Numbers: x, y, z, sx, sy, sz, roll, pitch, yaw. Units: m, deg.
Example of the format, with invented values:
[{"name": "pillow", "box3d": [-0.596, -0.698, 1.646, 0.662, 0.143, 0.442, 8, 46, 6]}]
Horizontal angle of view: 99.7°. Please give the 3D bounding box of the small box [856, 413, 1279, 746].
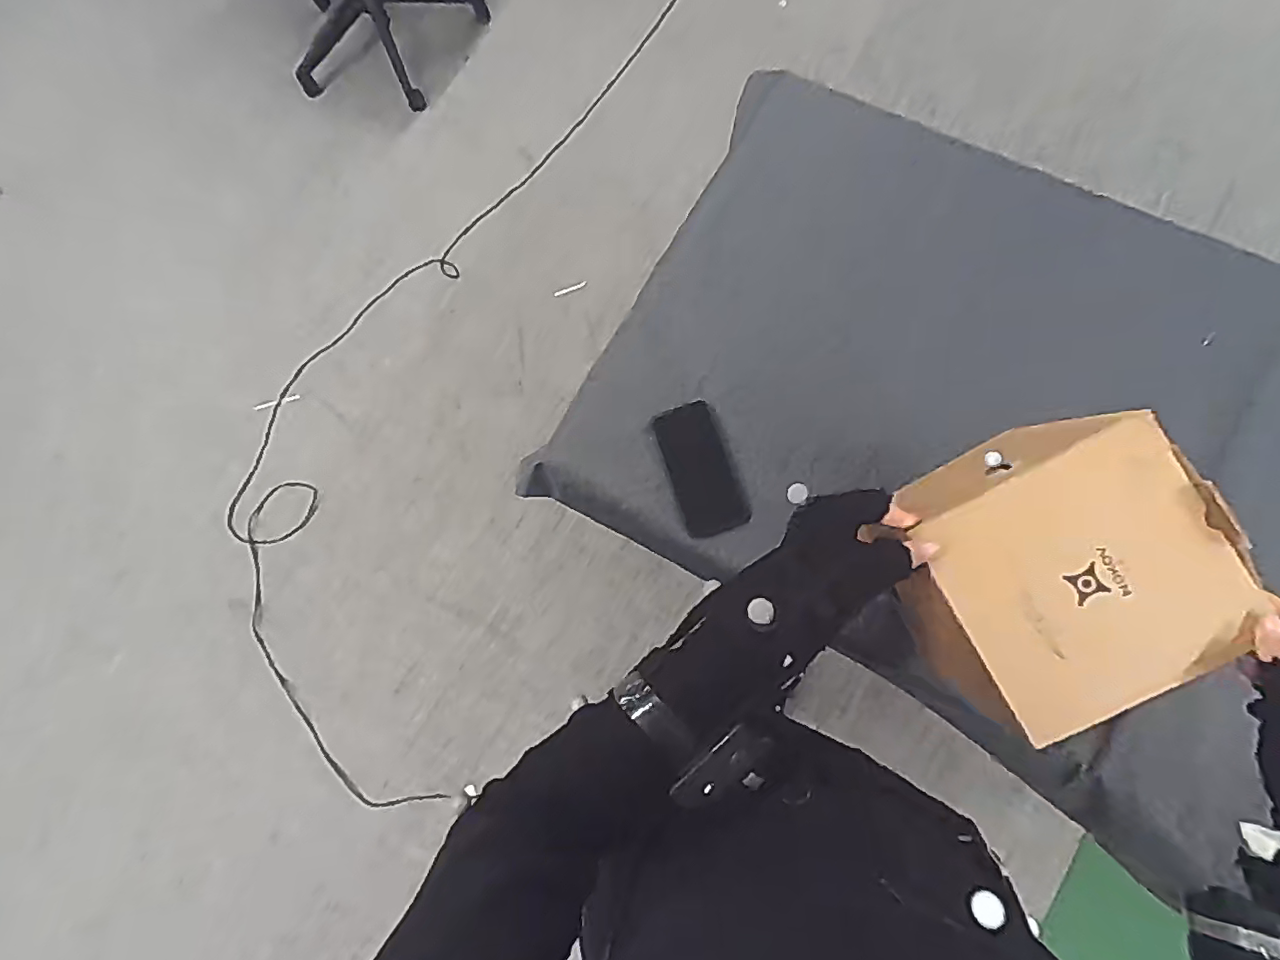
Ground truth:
[{"name": "small box", "box3d": [0.307, 0.065, 0.434, 0.179, 0.176, 0.168, -30, 86, 7]}]
